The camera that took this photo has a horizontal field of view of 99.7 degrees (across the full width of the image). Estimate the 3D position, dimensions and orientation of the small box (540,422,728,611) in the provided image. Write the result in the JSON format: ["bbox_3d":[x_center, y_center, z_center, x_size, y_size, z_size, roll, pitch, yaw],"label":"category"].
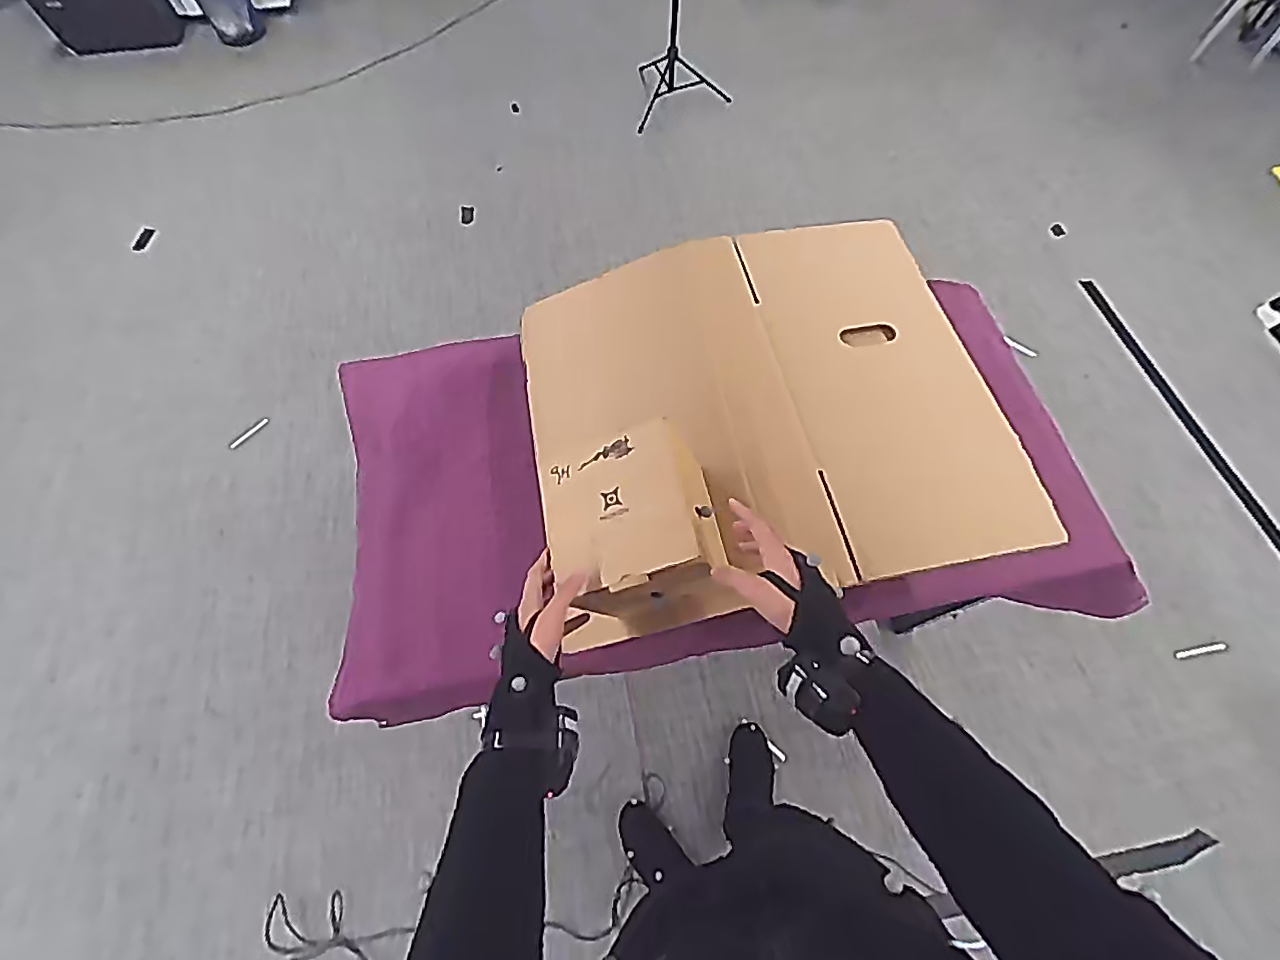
[{"bbox_3d":[-0.002,0.059,0.671,0.168,0.176,0.179,-19,66,14],"label":"small box"}]
